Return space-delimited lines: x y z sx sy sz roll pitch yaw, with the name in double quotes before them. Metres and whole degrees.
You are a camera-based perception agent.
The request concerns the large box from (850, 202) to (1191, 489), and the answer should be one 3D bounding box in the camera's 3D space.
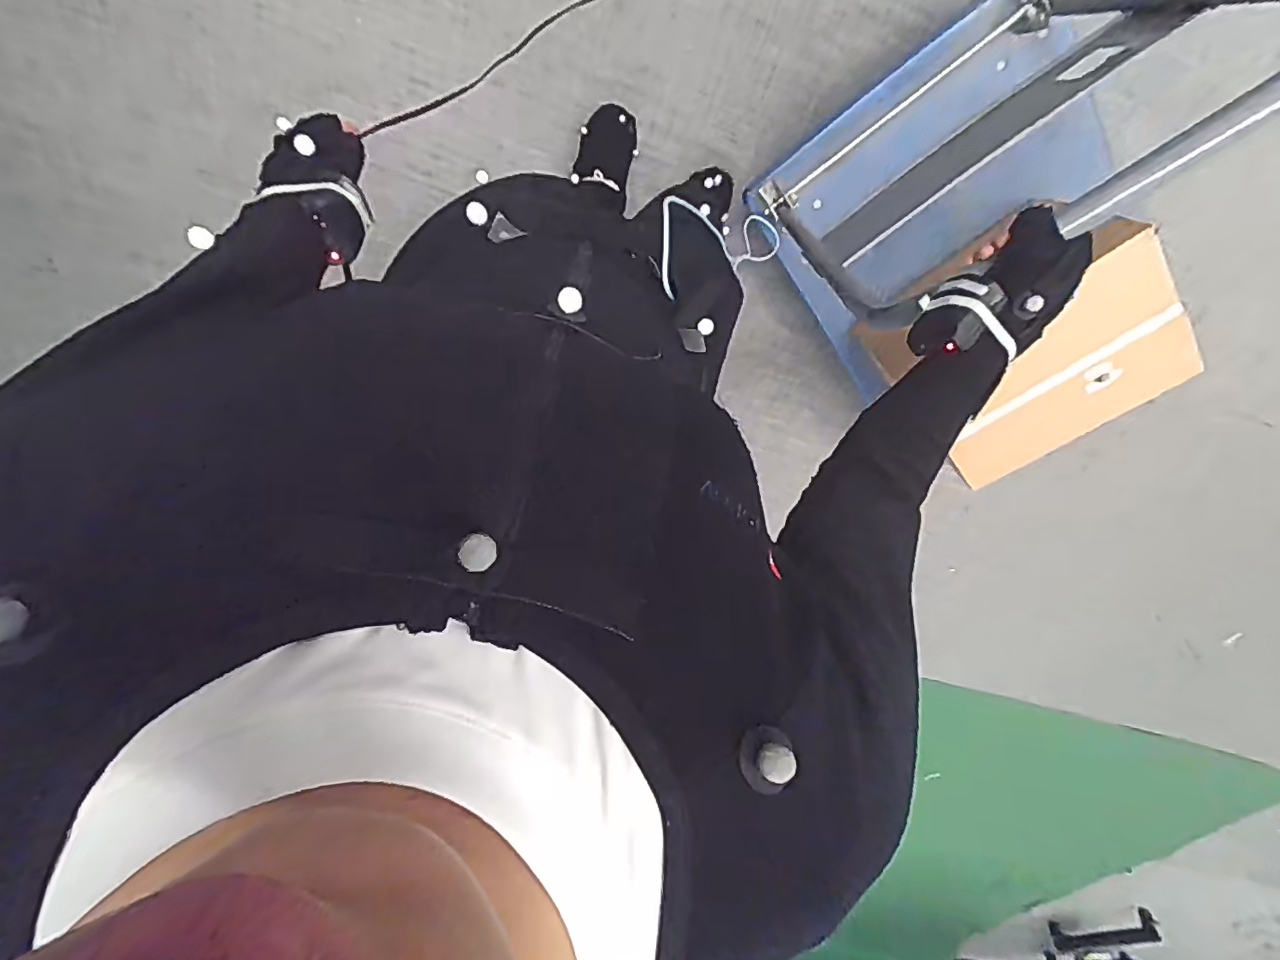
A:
"large box" 0.709 -0.265 1.073 0.408 0.320 0.320 -37 117 23
